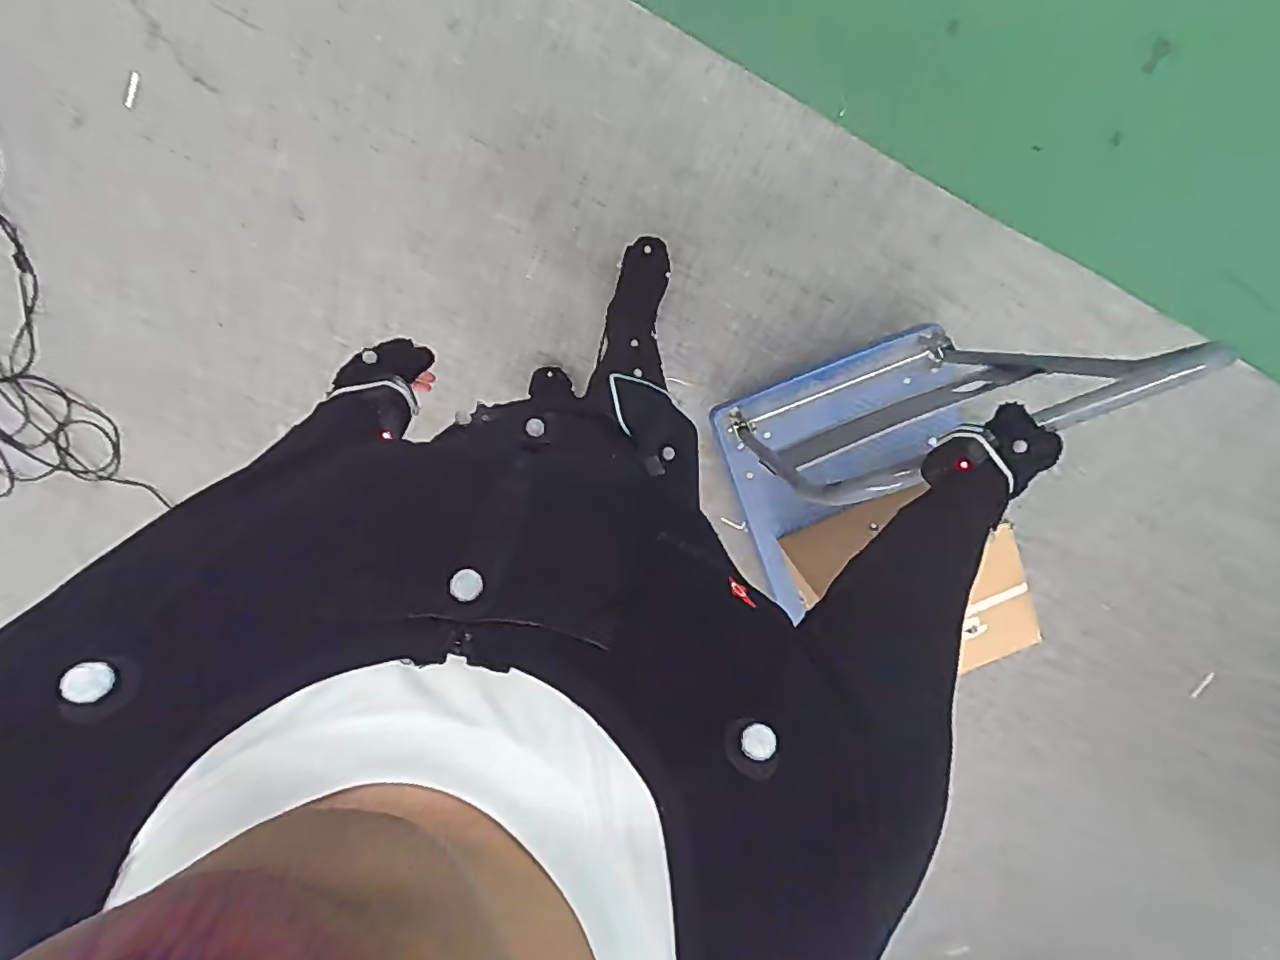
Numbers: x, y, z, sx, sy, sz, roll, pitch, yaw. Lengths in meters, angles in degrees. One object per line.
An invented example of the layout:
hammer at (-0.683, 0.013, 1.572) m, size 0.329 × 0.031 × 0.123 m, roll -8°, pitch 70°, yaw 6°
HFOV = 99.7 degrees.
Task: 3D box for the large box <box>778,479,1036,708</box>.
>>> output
large box at (0.600, 0.246, 1.271) m, size 0.408 × 0.320 × 0.320 m, roll -25°, pitch 108°, yaw 4°
